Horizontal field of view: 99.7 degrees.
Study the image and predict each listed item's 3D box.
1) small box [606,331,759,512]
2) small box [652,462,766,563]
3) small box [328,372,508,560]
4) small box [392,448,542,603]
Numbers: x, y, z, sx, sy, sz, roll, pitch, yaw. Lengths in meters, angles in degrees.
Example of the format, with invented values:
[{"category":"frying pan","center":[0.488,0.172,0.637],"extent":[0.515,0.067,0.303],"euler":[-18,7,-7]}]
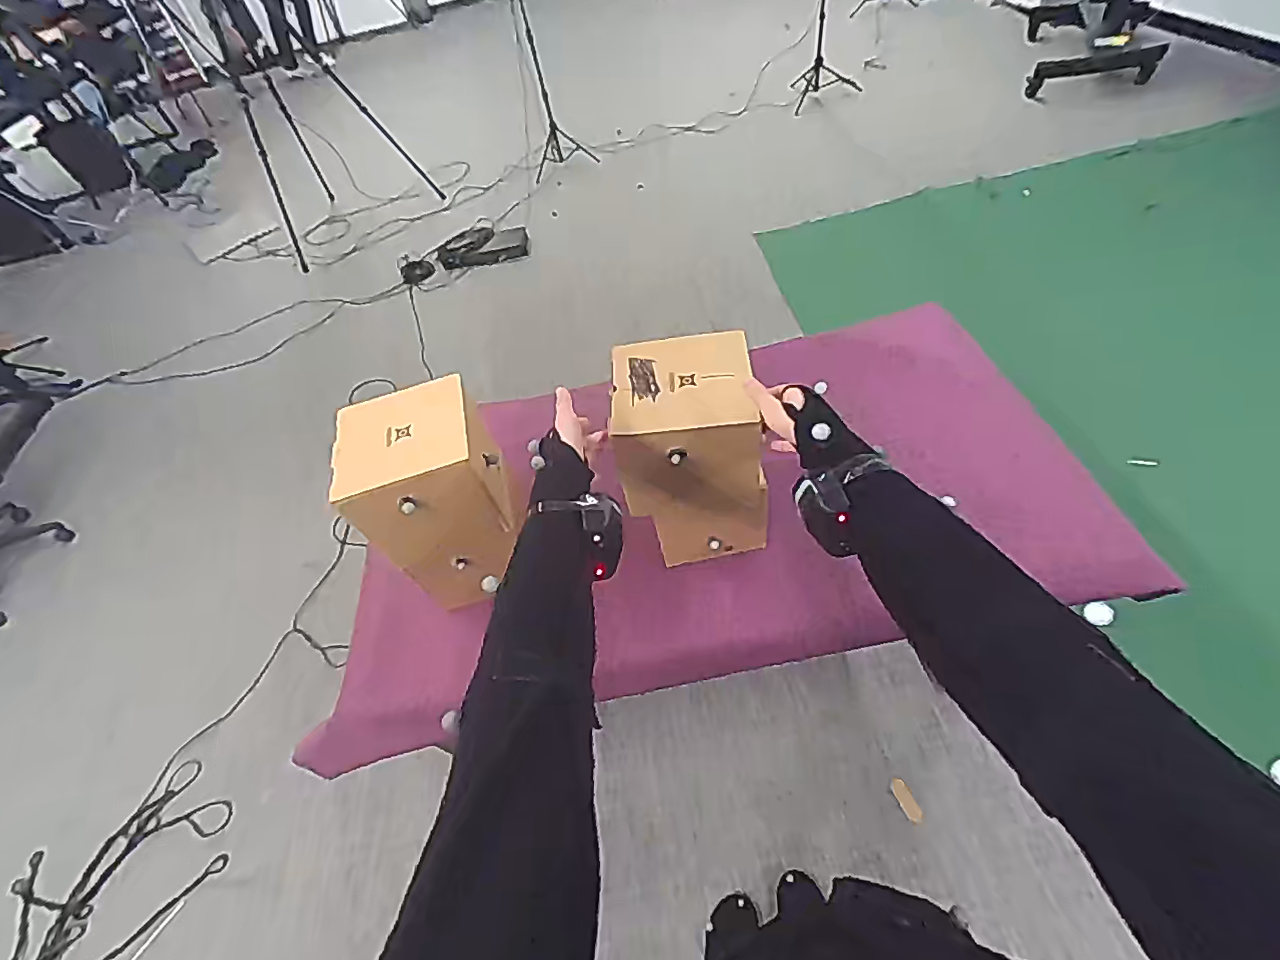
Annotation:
[{"category":"small box","center":[0.061,-0.070,0.714],"extent":[0.179,0.176,0.168],"euler":[-5,52,7]},{"category":"small box","center":[0.096,0.007,0.860],"extent":[0.168,0.176,0.179],"euler":[-12,52,3]},{"category":"small box","center":[-0.294,-0.015,0.750],"extent":[0.179,0.176,0.168],"euler":[-18,53,-2]},{"category":"small box","center":[-0.274,0.079,0.880],"extent":[0.179,0.176,0.168],"euler":[-16,52,-2]}]
